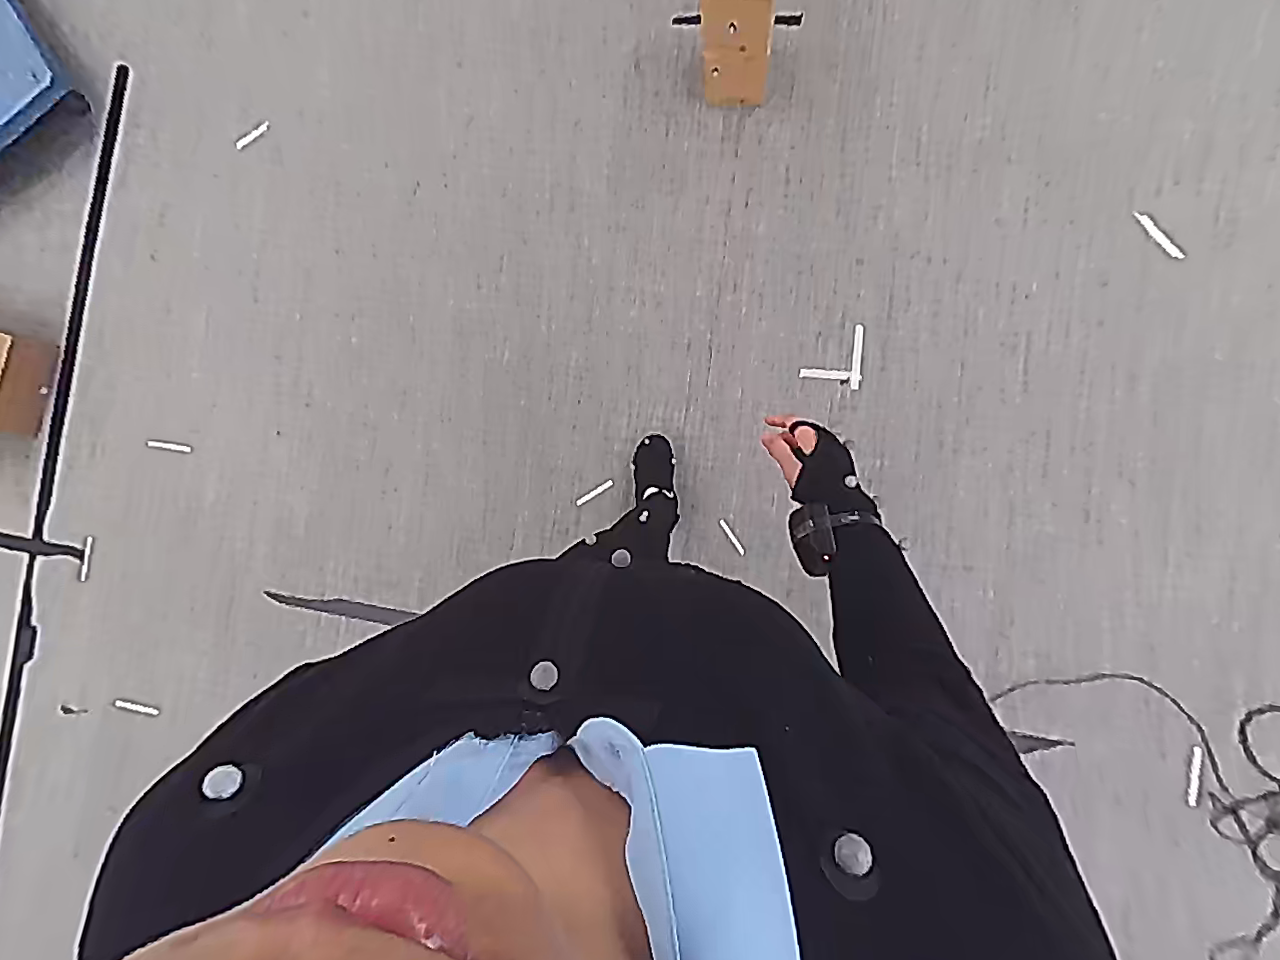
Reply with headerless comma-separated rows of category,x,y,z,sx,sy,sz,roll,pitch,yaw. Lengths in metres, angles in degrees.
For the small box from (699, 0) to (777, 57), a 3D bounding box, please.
small box,0.241,-1.154,1.281,0.168,0.176,0.179,12,87,7
